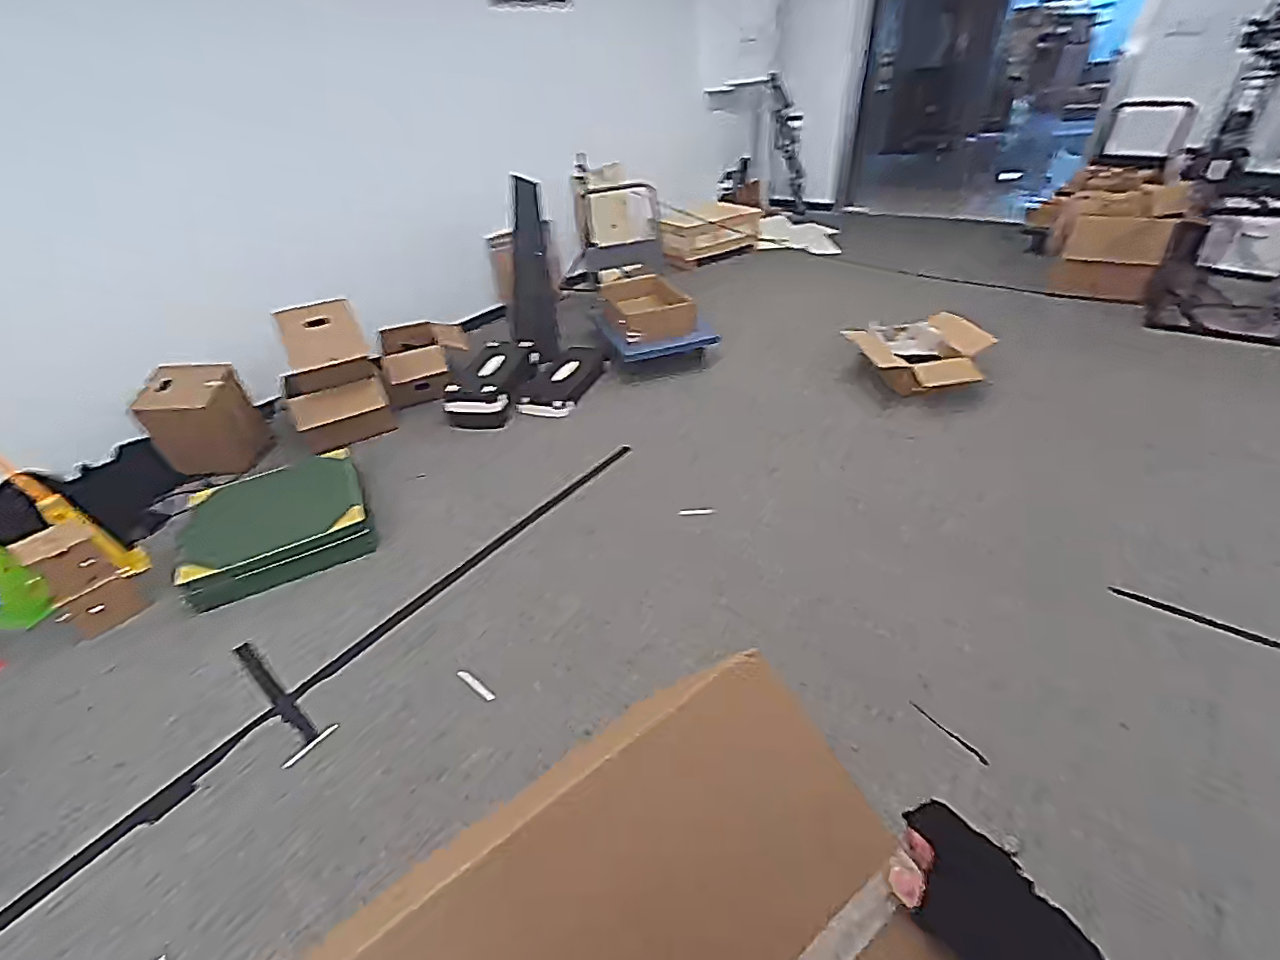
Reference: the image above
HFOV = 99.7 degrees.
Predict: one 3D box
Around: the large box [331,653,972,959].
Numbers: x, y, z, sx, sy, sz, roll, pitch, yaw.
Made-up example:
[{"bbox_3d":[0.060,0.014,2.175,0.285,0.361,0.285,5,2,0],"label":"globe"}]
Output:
[{"bbox_3d":[-0.019,0.399,0.403,0.408,0.320,0.320,-29,73,-22],"label":"large box"}]
